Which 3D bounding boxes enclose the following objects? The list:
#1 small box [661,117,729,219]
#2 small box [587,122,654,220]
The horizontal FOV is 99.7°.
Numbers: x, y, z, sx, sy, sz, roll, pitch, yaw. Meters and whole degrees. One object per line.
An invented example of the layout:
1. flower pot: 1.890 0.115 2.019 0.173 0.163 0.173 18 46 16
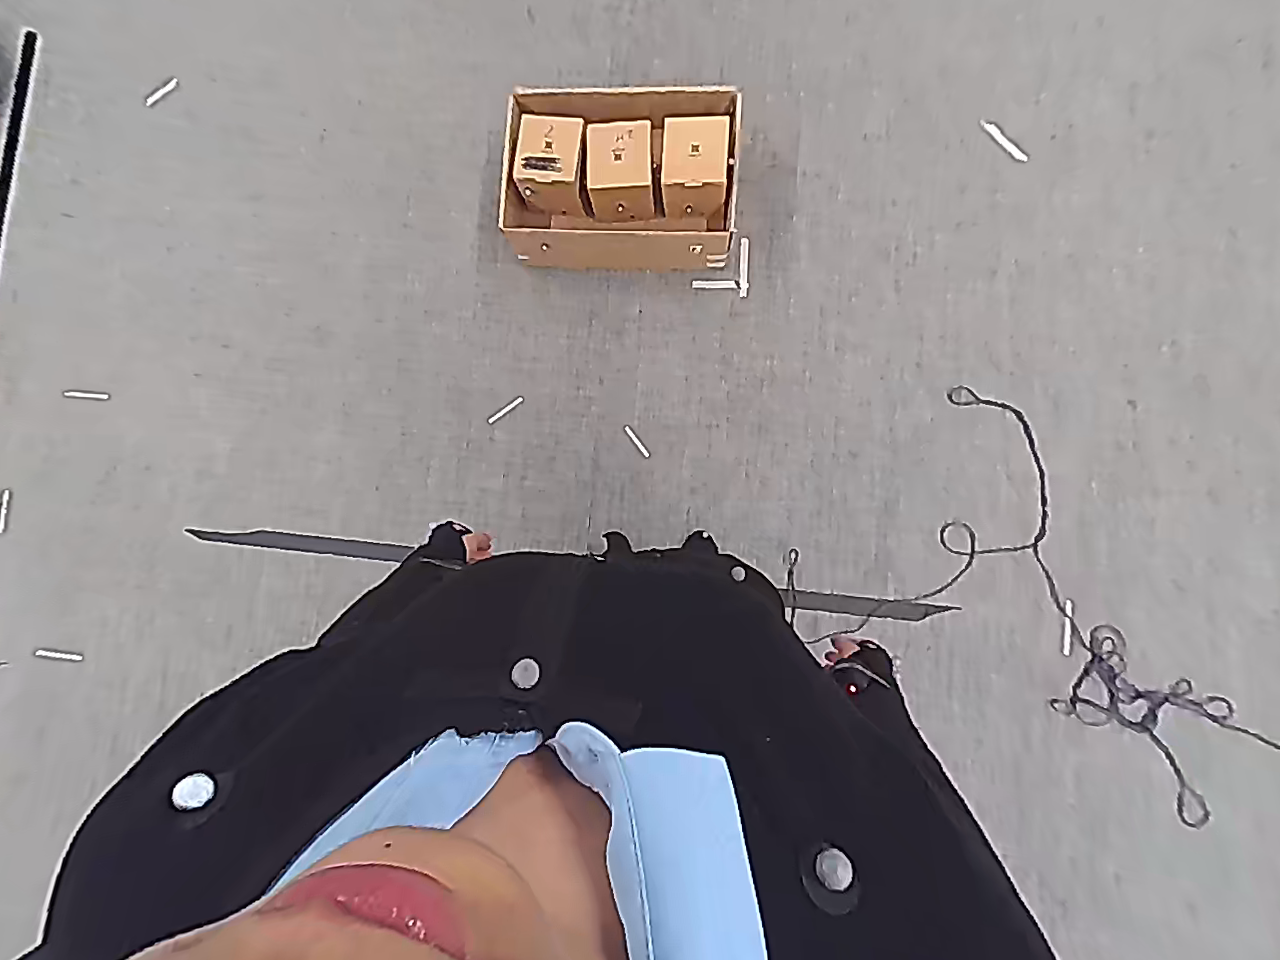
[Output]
1. small box: 0.147 -0.825 1.441 0.168 0.176 0.179 3 87 7
2. small box: -0.049 -0.823 1.458 0.168 0.176 0.179 -1 86 4
